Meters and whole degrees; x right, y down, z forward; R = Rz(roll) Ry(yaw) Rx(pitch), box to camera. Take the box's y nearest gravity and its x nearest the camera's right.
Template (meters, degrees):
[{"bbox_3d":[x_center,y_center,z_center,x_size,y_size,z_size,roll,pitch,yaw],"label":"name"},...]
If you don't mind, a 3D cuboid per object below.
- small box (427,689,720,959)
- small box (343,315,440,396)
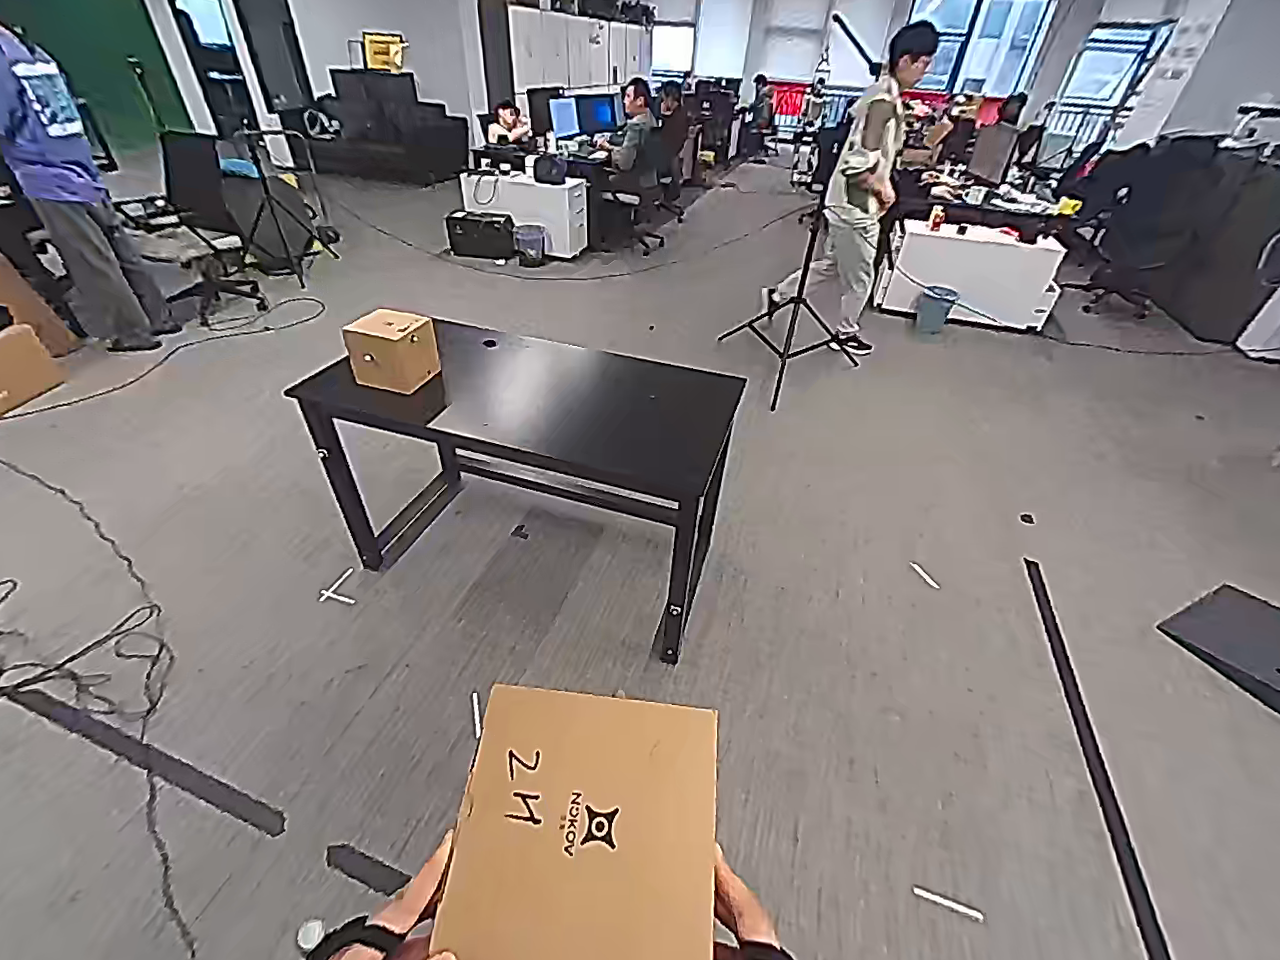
[{"bbox_3d":[-0.038,0.280,0.431,0.179,0.176,0.168,6,55,1],"label":"small box"},{"bbox_3d":[-0.706,-0.357,1.557,0.179,0.176,0.168,12,39,11],"label":"small box"}]
